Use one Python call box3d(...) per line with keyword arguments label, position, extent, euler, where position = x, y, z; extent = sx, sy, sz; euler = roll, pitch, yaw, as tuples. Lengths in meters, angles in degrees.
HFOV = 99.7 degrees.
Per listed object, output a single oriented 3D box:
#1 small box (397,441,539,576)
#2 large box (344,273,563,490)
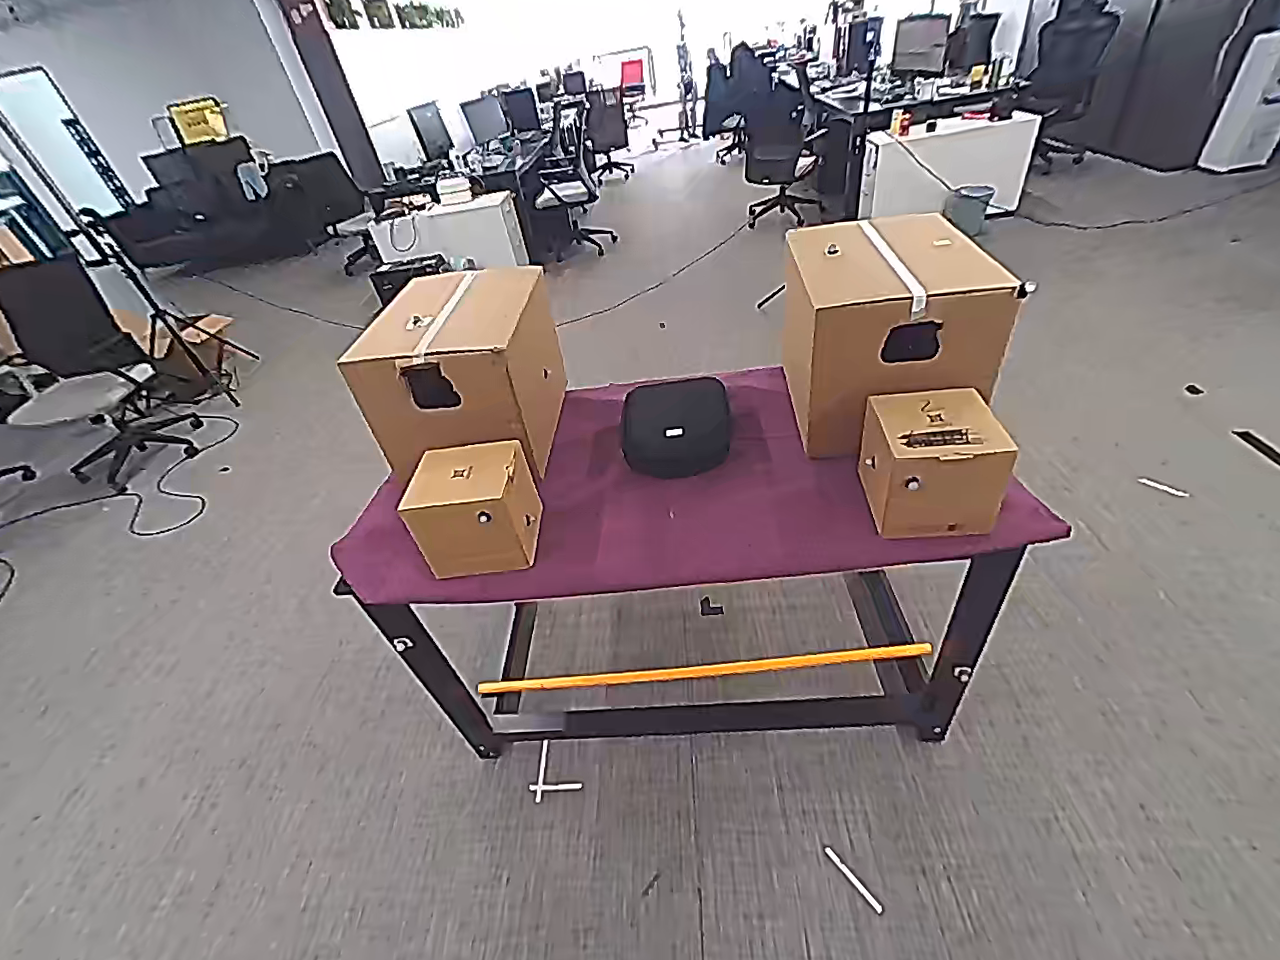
box3d(label="small box", position=(-0.293, 0.054, 0.964), extent=(0.179, 0.176, 0.168), euler=(-7, 38, 3))
box3d(label="large box", position=(-0.366, -0.221, 1.198), extent=(0.320, 0.320, 0.408), euler=(-5, 42, 5))
